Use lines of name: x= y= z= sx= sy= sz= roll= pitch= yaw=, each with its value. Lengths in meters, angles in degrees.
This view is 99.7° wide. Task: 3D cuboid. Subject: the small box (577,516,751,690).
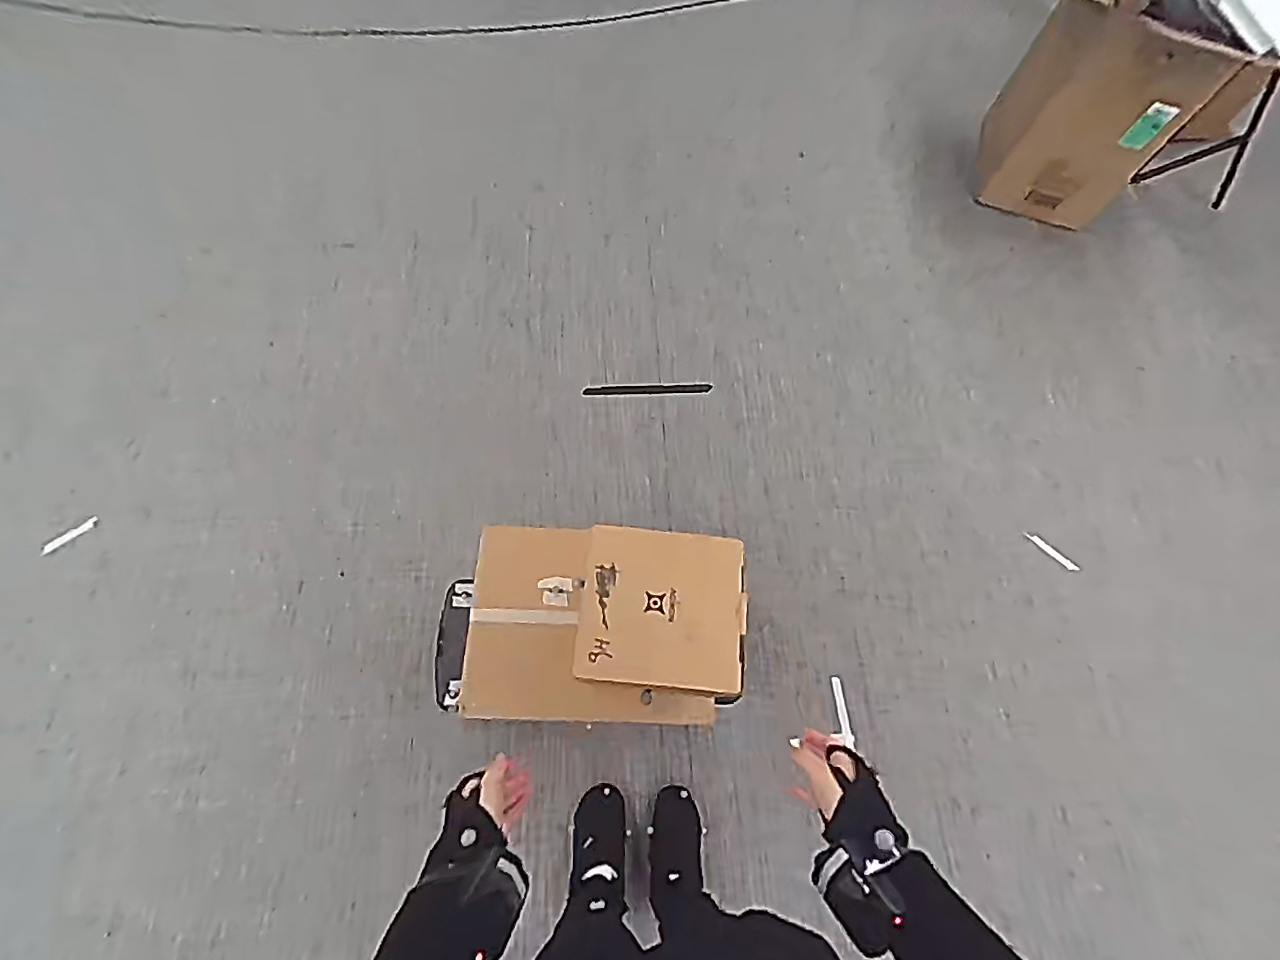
small box: x=0.024 y=0.156 z=0.647 sx=0.179 sy=0.176 sz=0.168 roll=7 pitch=67 yaw=-2

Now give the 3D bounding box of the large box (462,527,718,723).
large box: x=-0.079 y=0.284 z=1.030 sx=0.408 sy=0.320 sz=0.320 roll=2 pitch=67 yaw=-2
